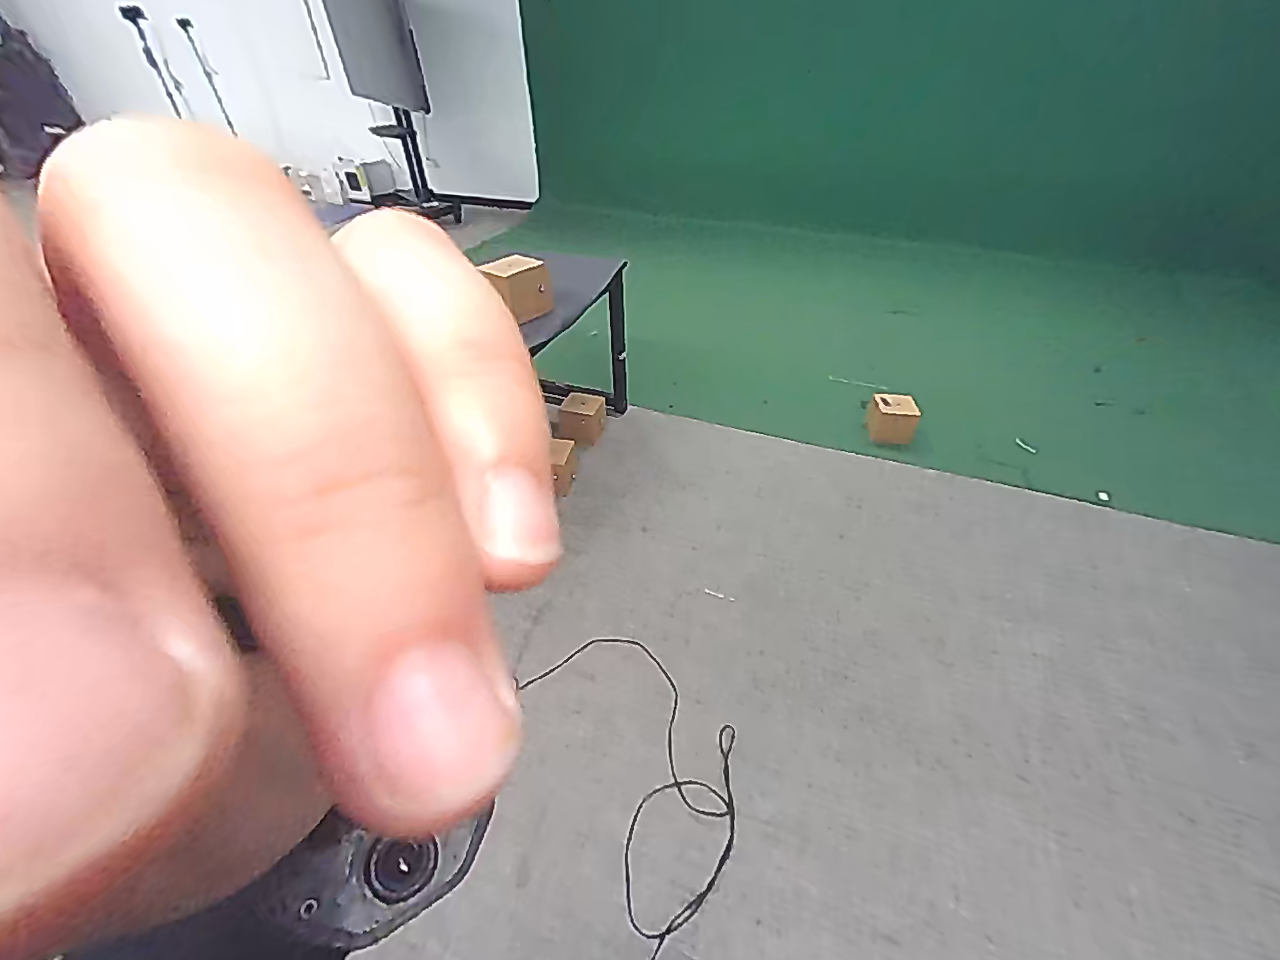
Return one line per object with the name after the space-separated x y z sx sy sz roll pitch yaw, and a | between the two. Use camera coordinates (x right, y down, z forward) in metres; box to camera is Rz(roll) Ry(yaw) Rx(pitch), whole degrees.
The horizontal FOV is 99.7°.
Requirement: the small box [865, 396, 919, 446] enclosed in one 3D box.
1.162 -0.274 2.513 0.179 0.176 0.168 4 41 4 | small box

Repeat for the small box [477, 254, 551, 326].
-0.419 -0.644 1.833 0.168 0.176 0.179 27 49 33 | small box

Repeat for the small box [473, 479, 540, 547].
-0.501 0.128 2.054 0.179 0.176 0.168 17 44 19 | small box

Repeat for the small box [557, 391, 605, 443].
-0.270 -0.291 2.537 0.179 0.176 0.168 11 41 13 | small box
